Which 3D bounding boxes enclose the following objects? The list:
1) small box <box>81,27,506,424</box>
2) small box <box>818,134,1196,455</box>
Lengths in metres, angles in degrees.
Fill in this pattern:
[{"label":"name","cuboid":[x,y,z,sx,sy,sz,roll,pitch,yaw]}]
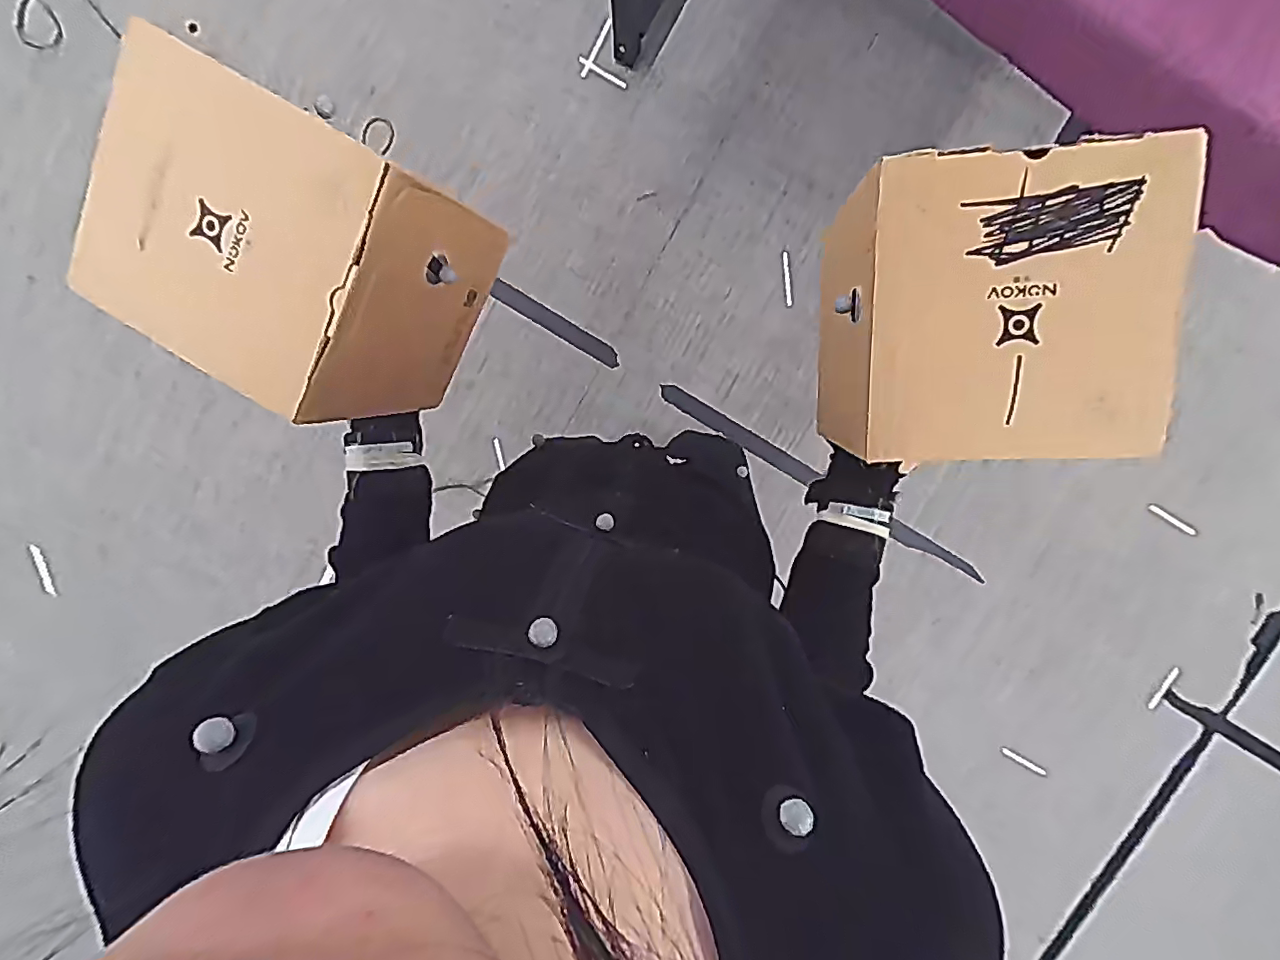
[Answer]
[{"label":"small box","cuboid":[-0.227,-0.160,0.395,0.179,0.176,0.168,30,104,4]},{"label":"small box","cuboid":[0.230,-0.116,0.393,0.168,0.176,0.179,-1,101,8]}]
